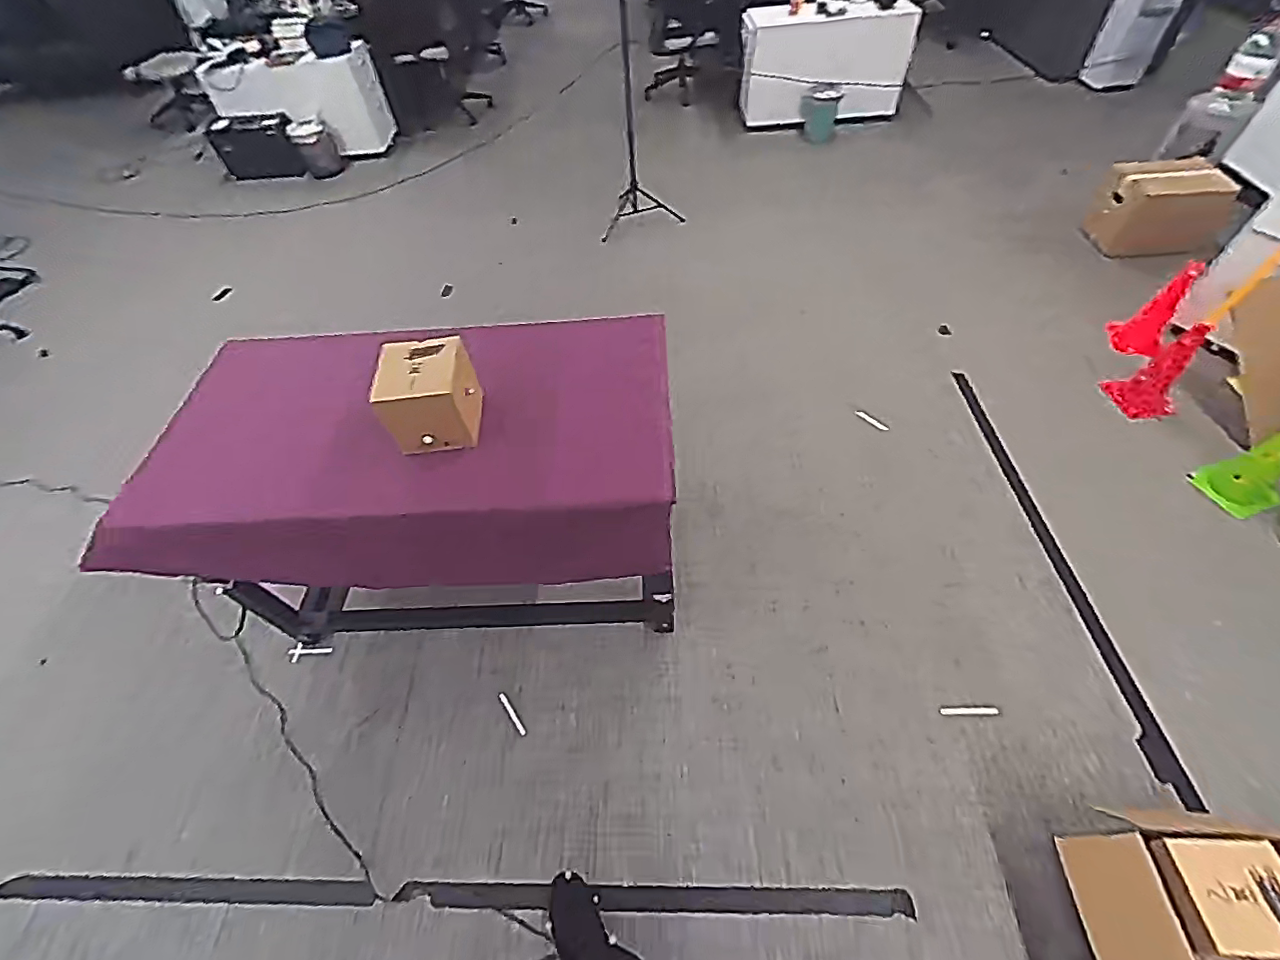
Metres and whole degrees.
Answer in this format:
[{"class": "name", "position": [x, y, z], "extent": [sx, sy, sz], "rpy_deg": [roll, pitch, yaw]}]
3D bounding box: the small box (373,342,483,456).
[{"class": "small box", "position": [-0.452, -0.176, 1.186], "extent": [0.168, 0.176, 0.179], "rpy_deg": [-7, 53, 0]}]
